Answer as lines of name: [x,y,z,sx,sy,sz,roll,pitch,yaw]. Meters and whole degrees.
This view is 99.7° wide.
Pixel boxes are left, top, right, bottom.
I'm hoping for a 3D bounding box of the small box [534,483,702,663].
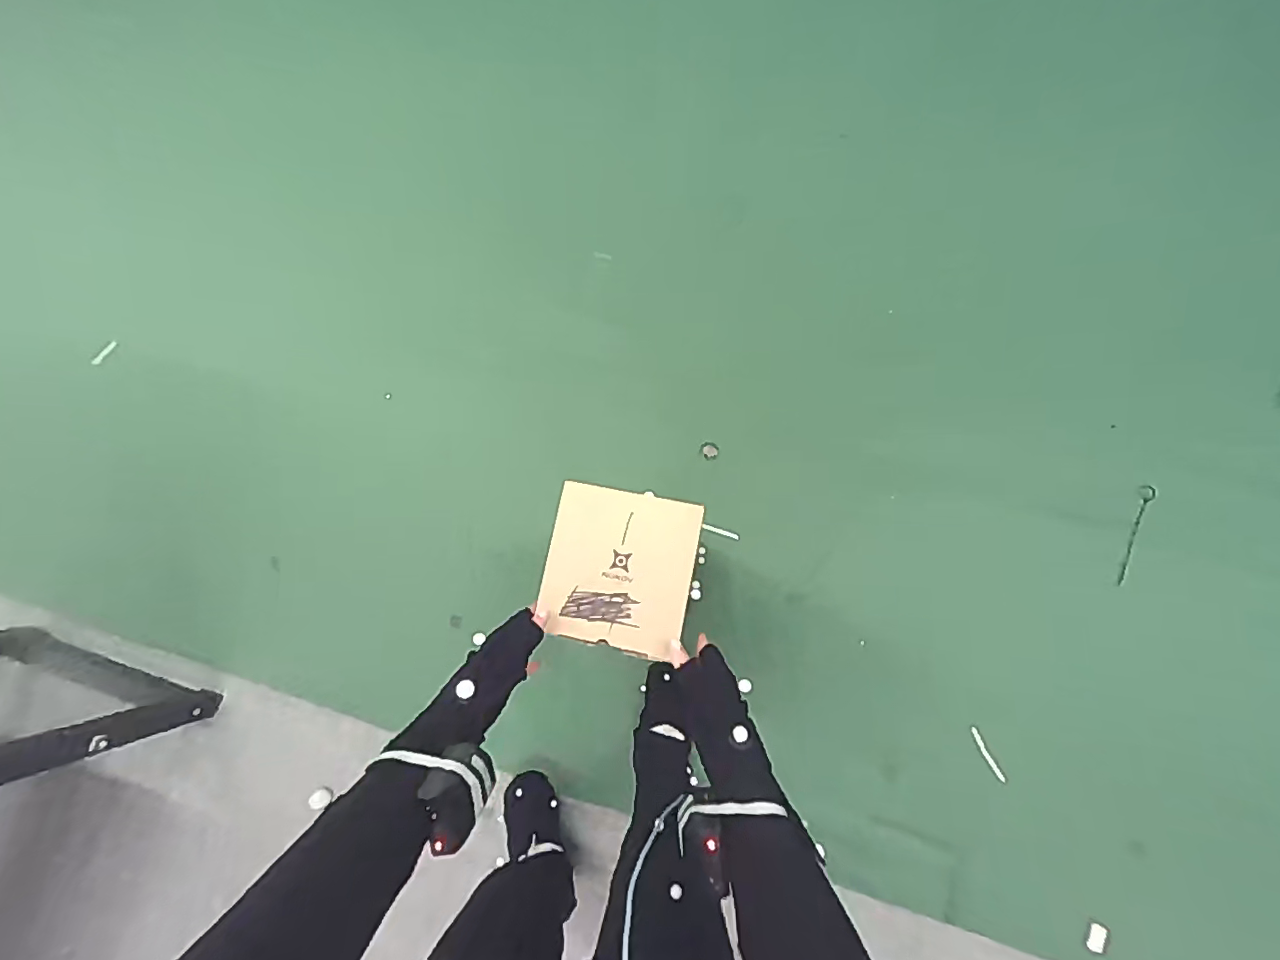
small box: [-0.017,0.115,0.688,0.168,0.176,0.179,11,81,7]
